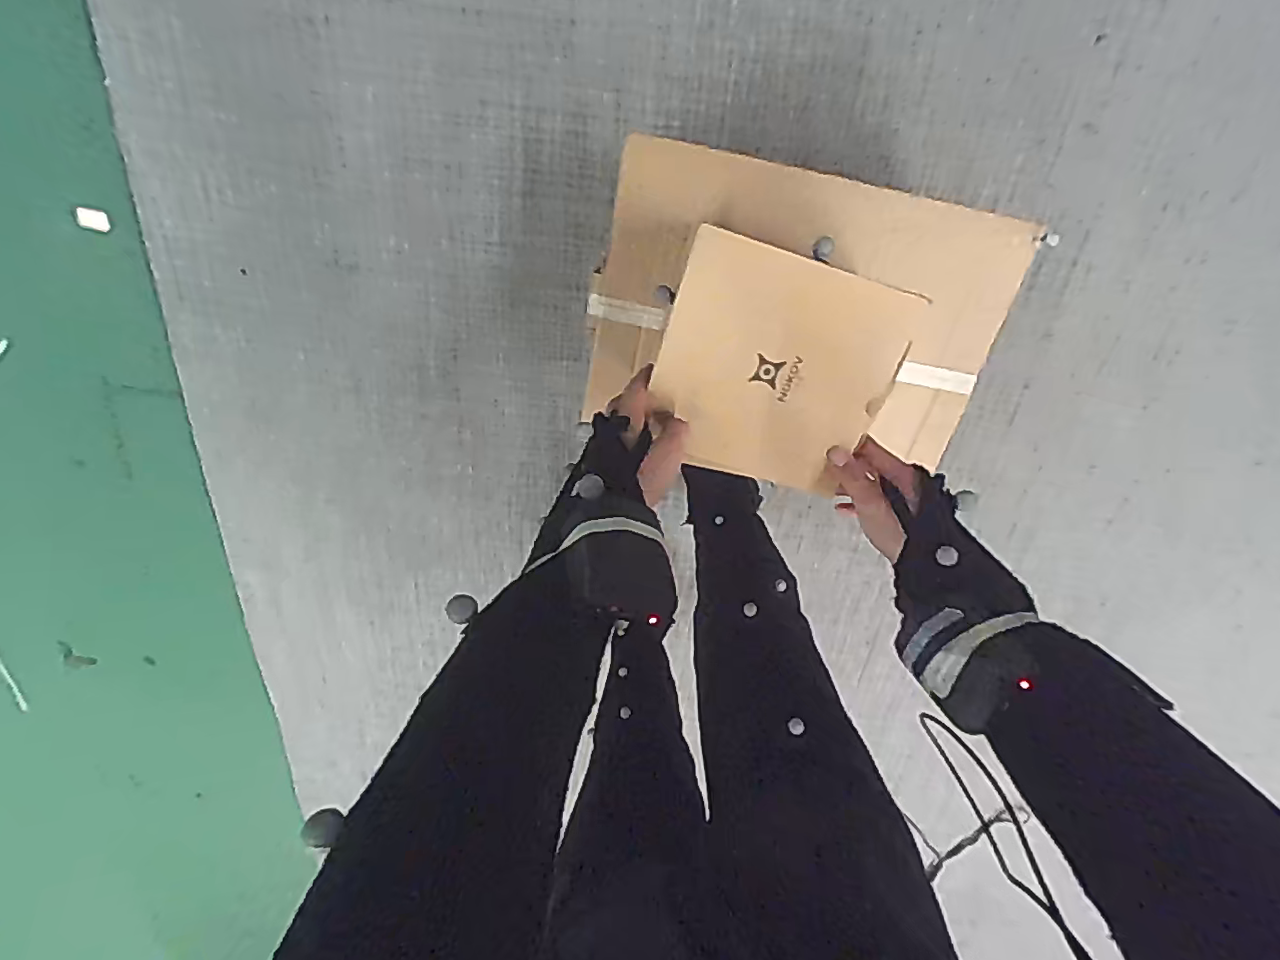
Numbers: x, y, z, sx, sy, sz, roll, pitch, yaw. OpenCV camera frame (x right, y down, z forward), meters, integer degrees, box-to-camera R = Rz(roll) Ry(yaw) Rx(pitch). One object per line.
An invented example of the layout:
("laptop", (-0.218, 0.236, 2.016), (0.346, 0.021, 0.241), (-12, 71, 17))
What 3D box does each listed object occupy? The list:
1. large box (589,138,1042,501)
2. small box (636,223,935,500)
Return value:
("large box", (0.166, -0.207, 0.702), (0.408, 0.320, 0.320), (11, 116, -2))
("small box", (0.105, -0.110, 0.476), (0.179, 0.176, 0.168), (17, 114, -5))
